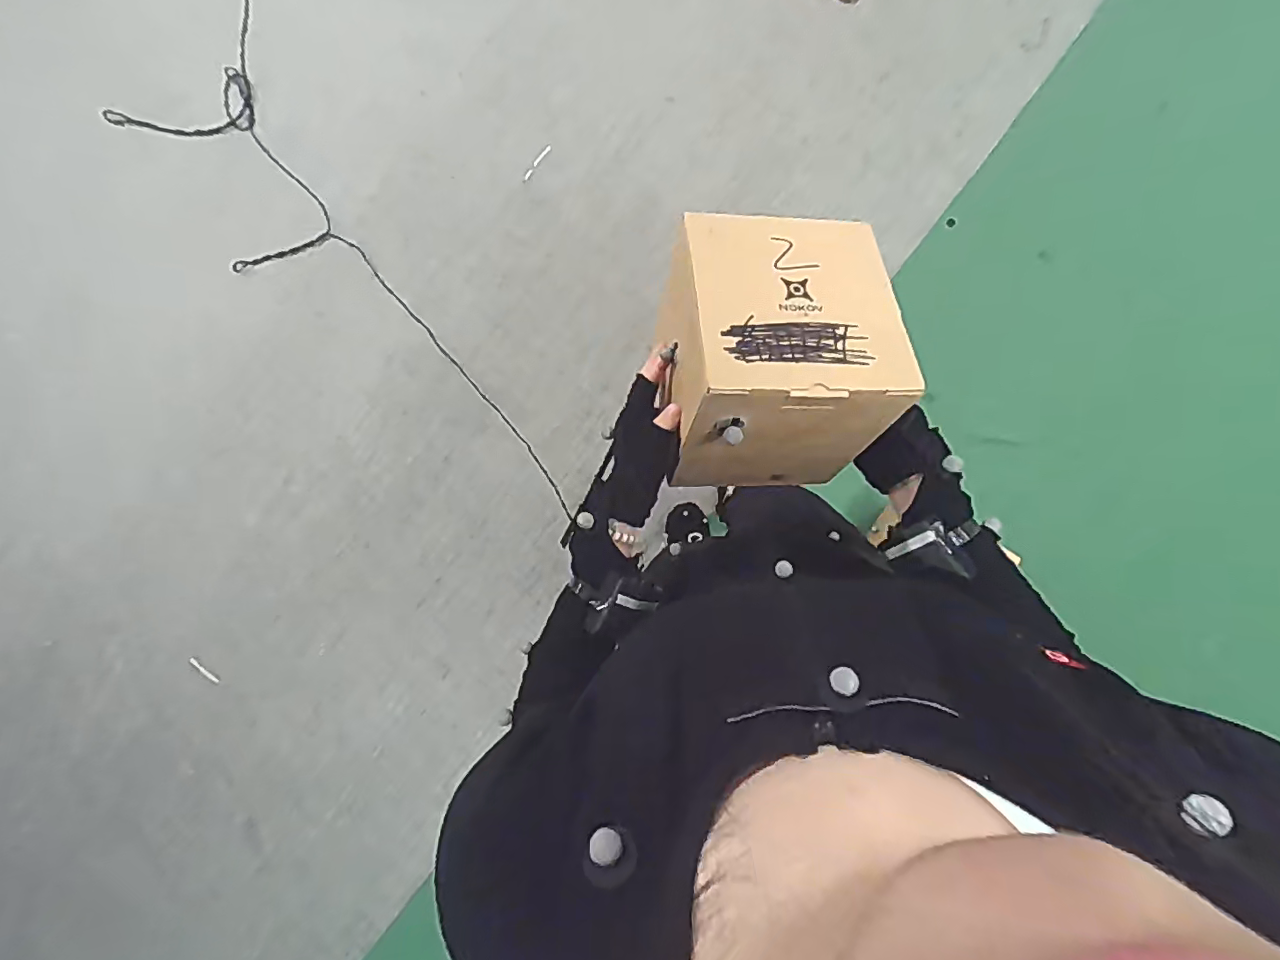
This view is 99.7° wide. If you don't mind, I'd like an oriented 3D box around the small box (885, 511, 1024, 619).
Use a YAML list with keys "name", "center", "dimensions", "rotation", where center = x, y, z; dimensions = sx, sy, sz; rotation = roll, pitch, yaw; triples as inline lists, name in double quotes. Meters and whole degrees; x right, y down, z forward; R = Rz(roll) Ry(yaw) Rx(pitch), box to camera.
- name: "small box"
  center: [0.695, 0.180, 1.218]
  dimensions: [0.179, 0.176, 0.168]
  rotation: [34, 91, 4]
